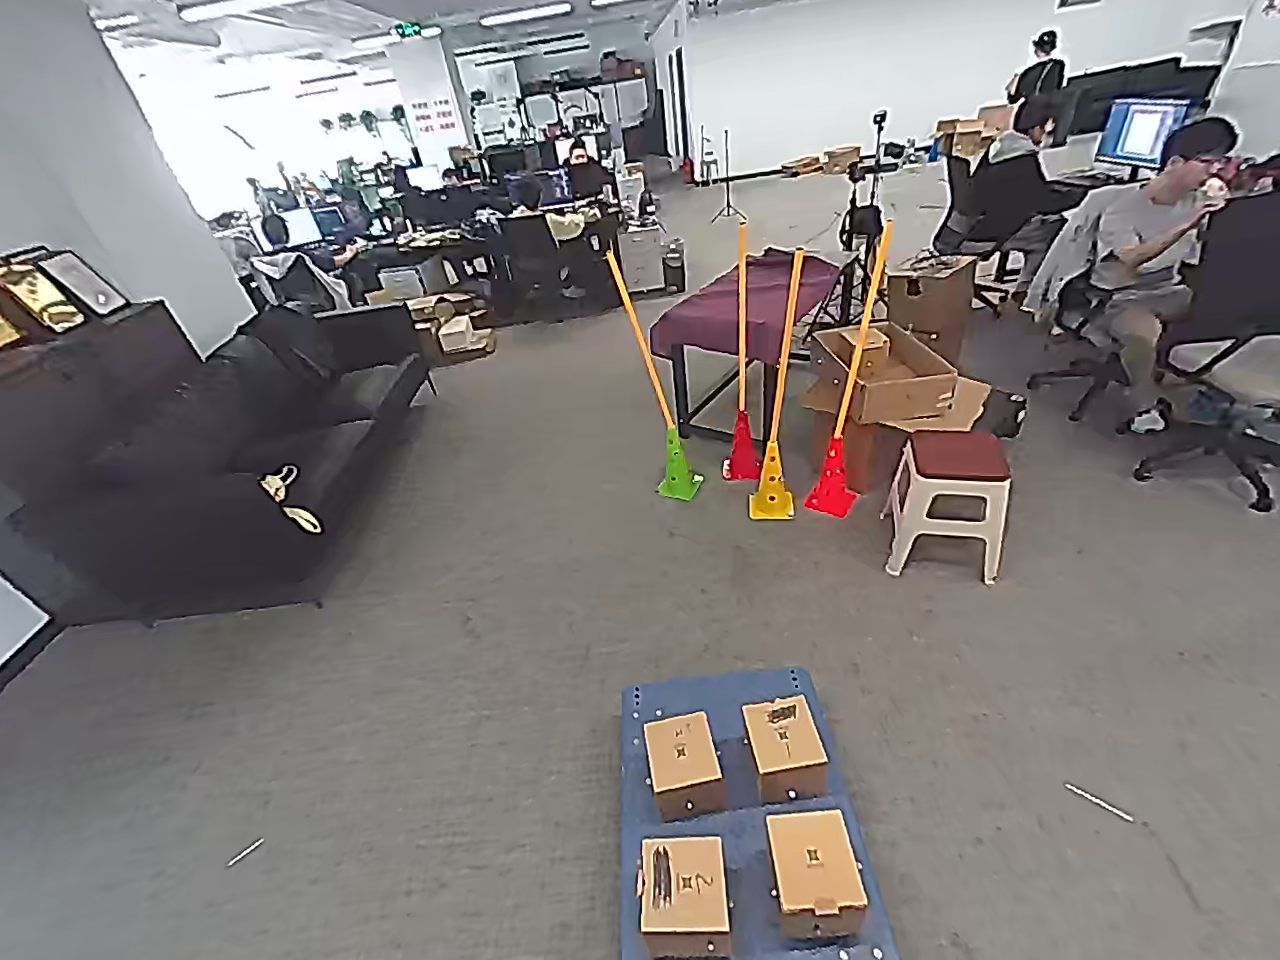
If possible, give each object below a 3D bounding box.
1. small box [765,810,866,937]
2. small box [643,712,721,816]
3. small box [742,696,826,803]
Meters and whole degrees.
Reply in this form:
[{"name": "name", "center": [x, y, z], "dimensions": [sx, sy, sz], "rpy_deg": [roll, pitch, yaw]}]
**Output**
[{"name": "small box", "center": [0.367, 0.846, 1.164], "dimensions": [0.168, 0.176, 0.179], "rpy_deg": [-7, 36, 3]}, {"name": "small box", "center": [0.108, 0.731, 1.382], "dimensions": [0.168, 0.176, 0.179], "rpy_deg": [-11, 36, -3]}, {"name": "small box", "center": [0.360, 0.688, 1.382], "dimensions": [0.168, 0.176, 0.179], "rpy_deg": [-10, 36, 0]}]
